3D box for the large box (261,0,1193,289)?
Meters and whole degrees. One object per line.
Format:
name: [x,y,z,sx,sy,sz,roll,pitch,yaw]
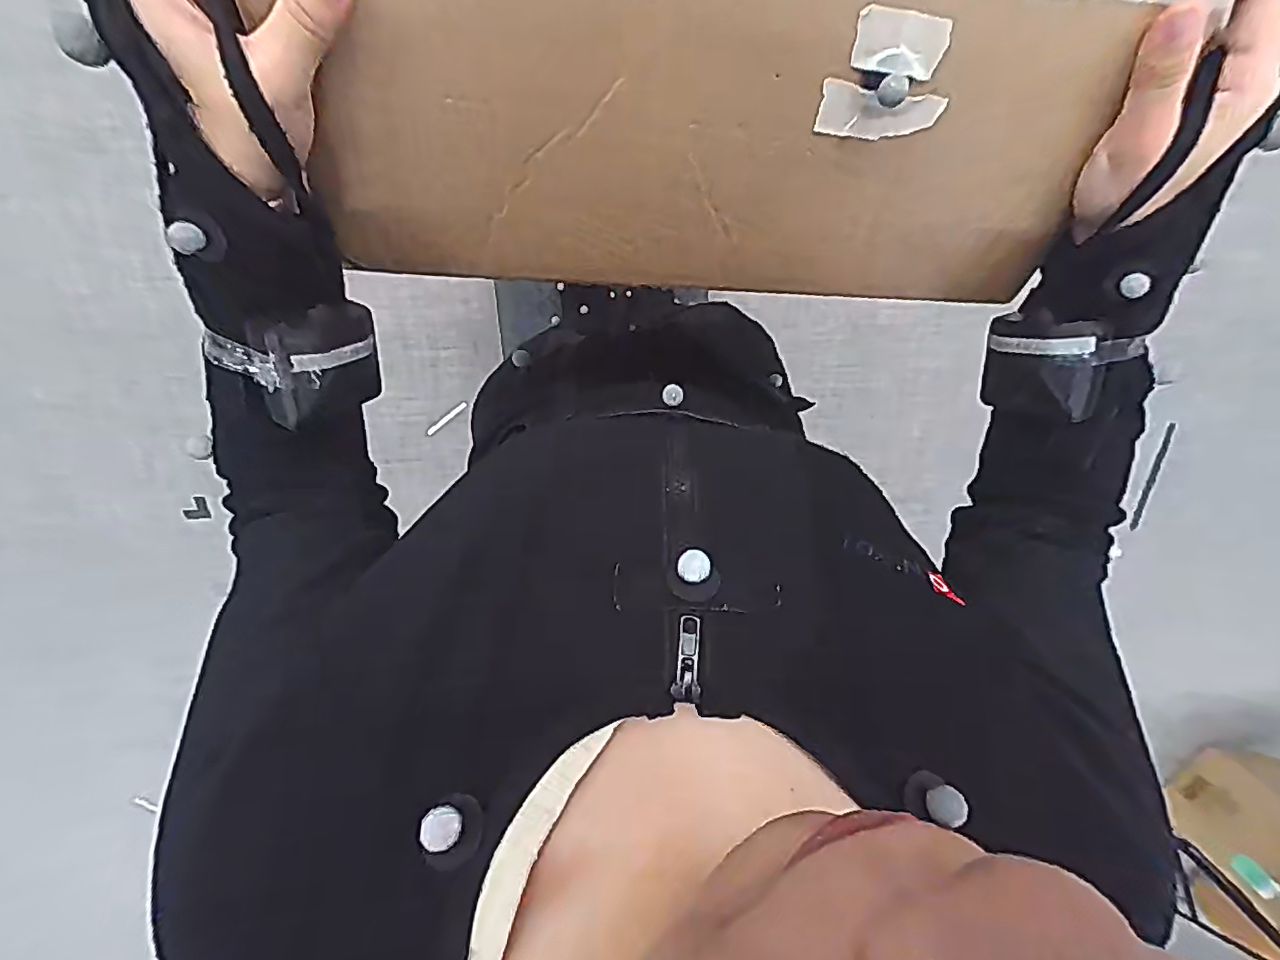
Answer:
large box: [0.034,-0.332,0.303,0.408,0.320,0.320,-1,144,-7]
